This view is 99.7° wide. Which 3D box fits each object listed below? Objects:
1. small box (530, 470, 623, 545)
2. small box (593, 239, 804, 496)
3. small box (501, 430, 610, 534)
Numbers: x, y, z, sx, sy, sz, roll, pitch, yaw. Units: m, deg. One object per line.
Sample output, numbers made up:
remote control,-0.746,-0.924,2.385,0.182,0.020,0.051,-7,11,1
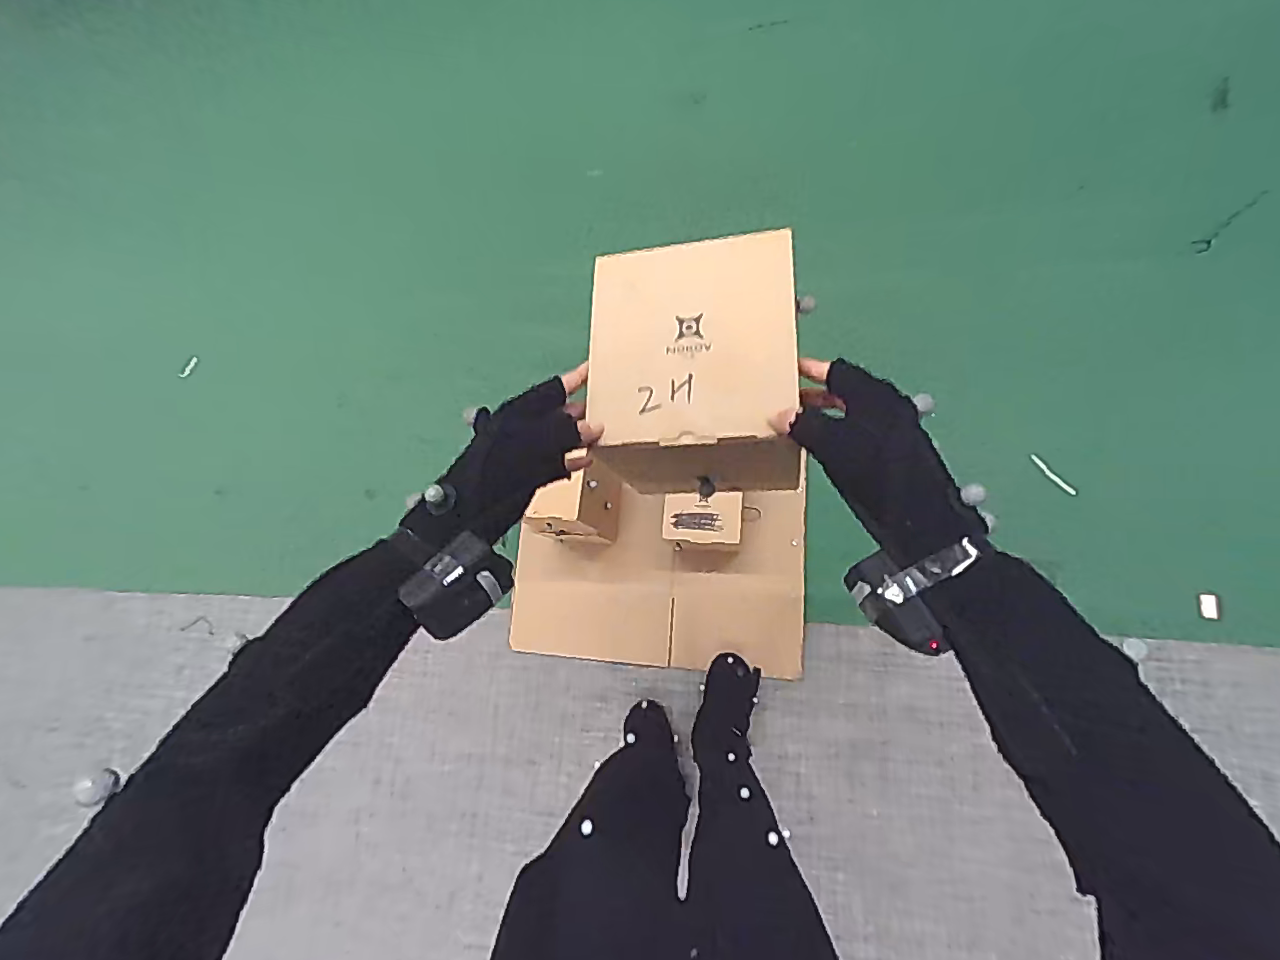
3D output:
small box,-0.142,0.056,1.278,0.168,0.176,0.179,3,77,12
small box,0.065,-0.090,0.511,0.168,0.176,0.179,-2,74,16
small box,-0.166,0.008,1.124,0.168,0.176,0.179,5,78,12
